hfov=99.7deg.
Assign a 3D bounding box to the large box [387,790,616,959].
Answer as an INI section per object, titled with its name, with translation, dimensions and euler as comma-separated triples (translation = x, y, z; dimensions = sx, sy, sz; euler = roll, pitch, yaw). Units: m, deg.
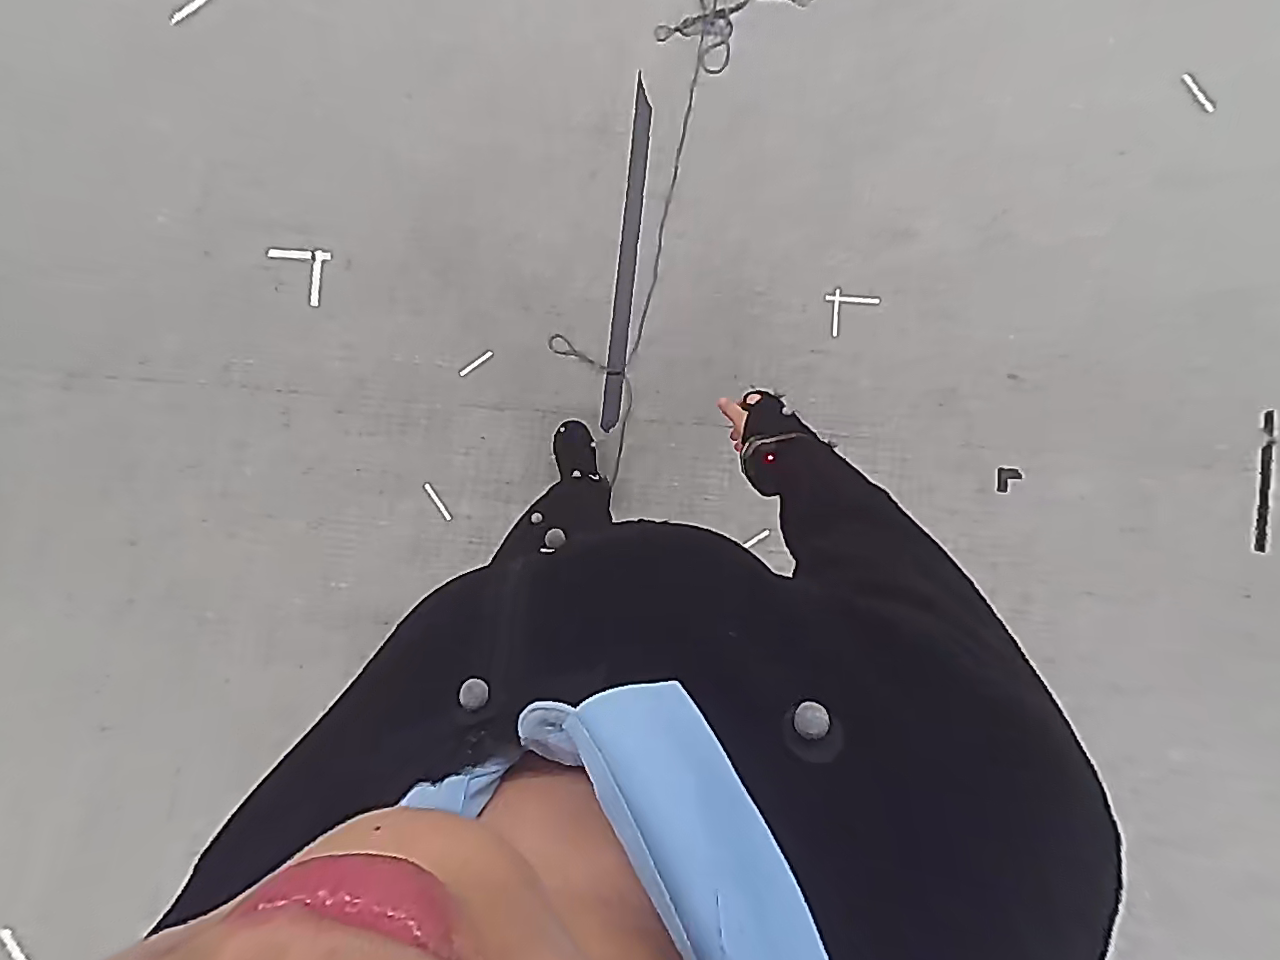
[large box]
translation = -0.257, 0.877, 1.122
dimensions = 0.408, 0.320, 0.320
euler = 1, 86, 0
